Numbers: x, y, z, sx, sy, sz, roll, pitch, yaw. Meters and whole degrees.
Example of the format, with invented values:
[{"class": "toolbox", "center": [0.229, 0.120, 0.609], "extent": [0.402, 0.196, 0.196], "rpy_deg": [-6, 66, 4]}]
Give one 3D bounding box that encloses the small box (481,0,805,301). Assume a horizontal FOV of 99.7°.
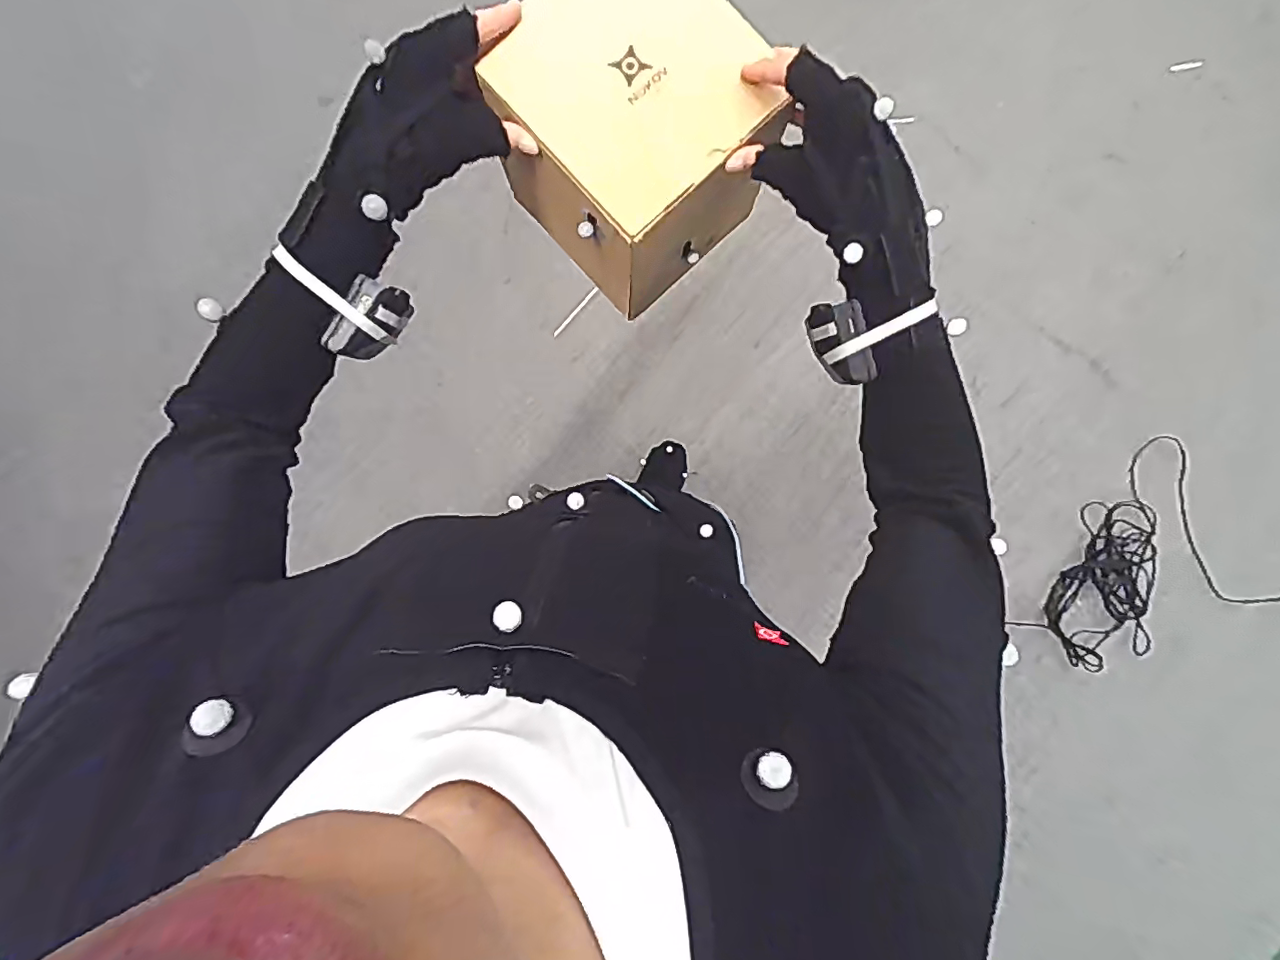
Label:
[{"class": "small box", "center": [-0.002, -0.288, 0.461], "extent": [0.168, 0.176, 0.179], "rpy_deg": [-41, 92, -4]}]
